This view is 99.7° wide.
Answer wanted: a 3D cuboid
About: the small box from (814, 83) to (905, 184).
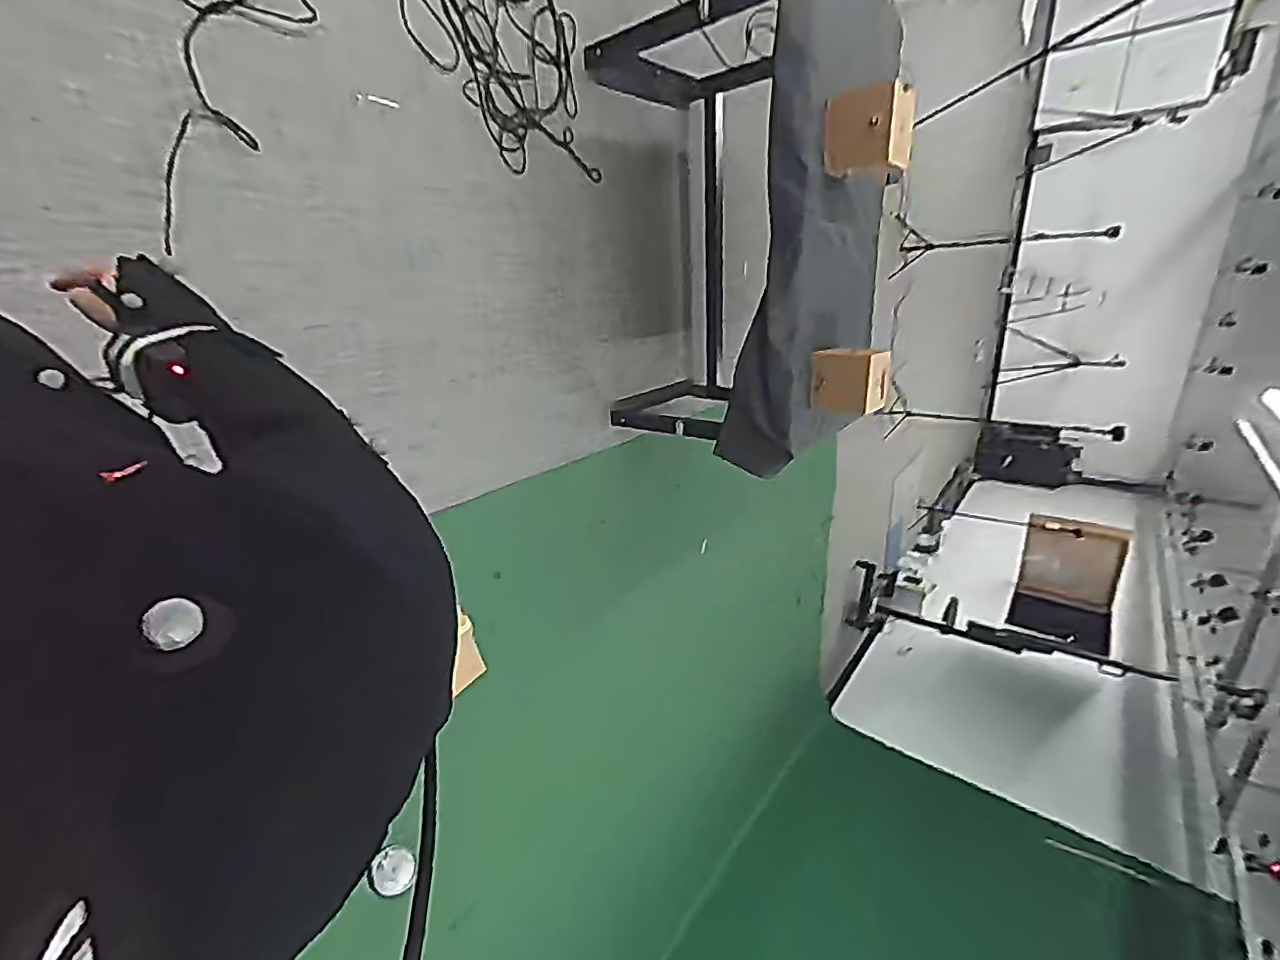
[{"bbox_3d":[0.559,-0.875,1.383,0.168,0.176,0.179,-24,119,-46],"label":"small box"}]
